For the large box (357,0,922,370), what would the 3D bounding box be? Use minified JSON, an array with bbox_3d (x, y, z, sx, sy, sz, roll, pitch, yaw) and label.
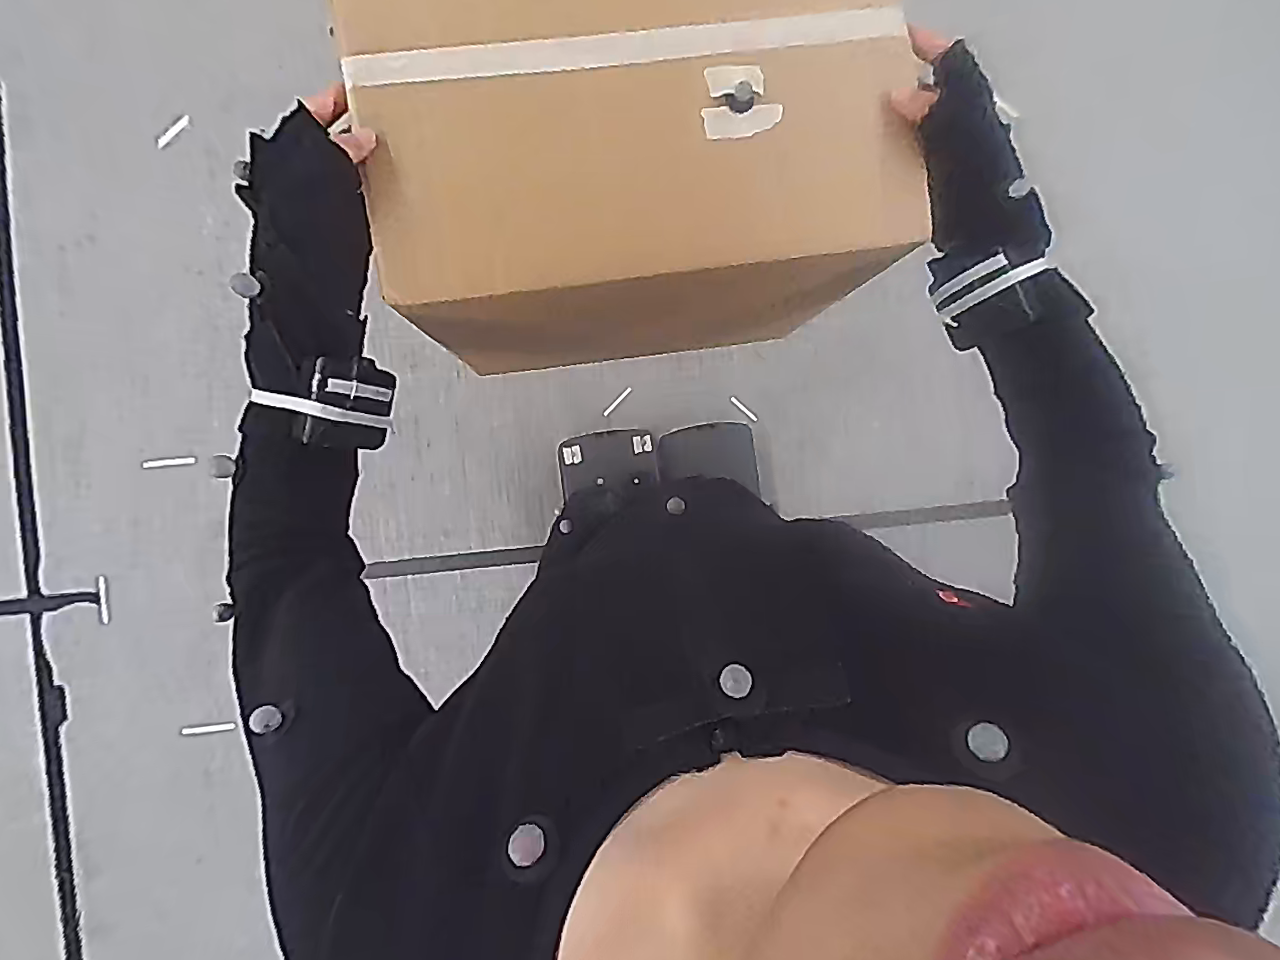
[{"bbox_3d":[-0.012,-0.316,0.547,0.408,0.320,0.320,-9,93,-5],"label":"large box"}]
